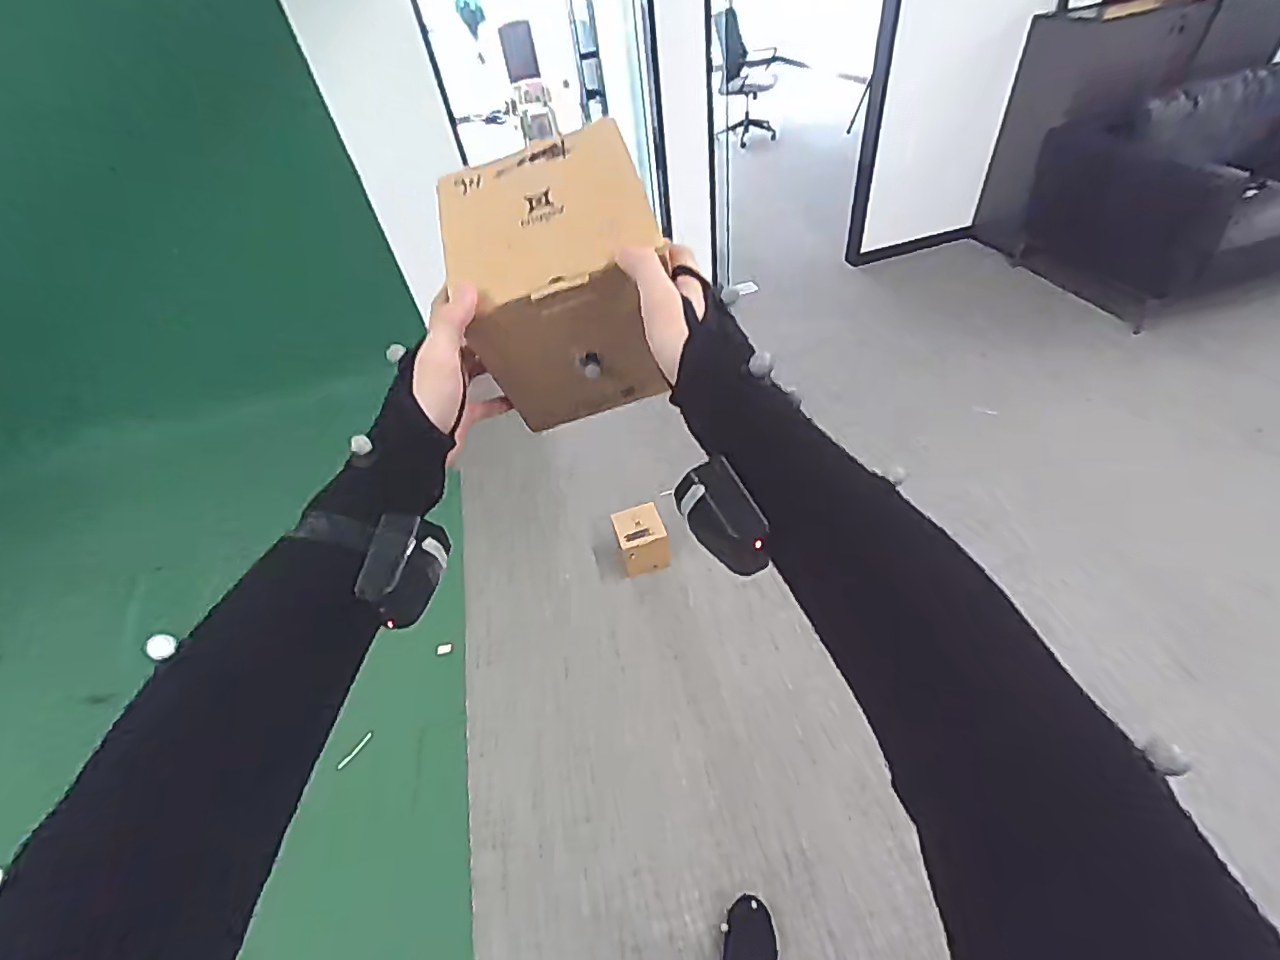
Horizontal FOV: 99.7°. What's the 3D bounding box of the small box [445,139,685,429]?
[{"bbox_3d":[-0.062,-0.167,0.510,0.168,0.176,0.179,-17,62,3],"label":"small box"}]
